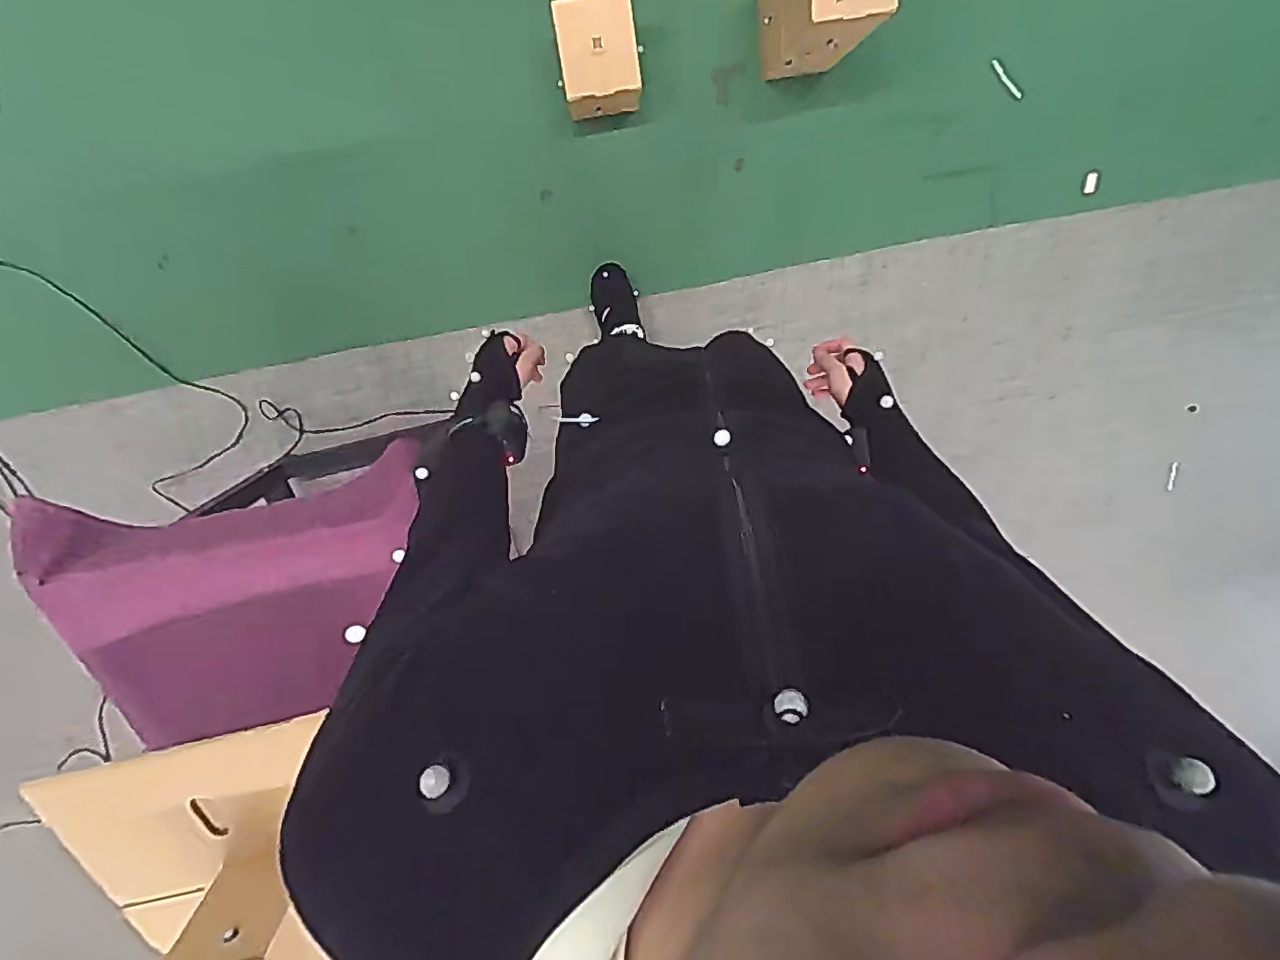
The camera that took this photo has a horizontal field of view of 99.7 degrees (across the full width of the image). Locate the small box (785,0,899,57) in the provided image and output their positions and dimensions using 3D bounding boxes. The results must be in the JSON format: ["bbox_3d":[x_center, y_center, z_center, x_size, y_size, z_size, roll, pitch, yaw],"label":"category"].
[{"bbox_3d":[0.387,-0.970,1.054,0.168,0.176,0.179,-9,112,-1],"label":"small box"}]

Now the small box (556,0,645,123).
[{"bbox_3d":[-0.088,-0.934,1.213,0.168,0.176,0.179,-11,112,0],"label":"small box"}]
